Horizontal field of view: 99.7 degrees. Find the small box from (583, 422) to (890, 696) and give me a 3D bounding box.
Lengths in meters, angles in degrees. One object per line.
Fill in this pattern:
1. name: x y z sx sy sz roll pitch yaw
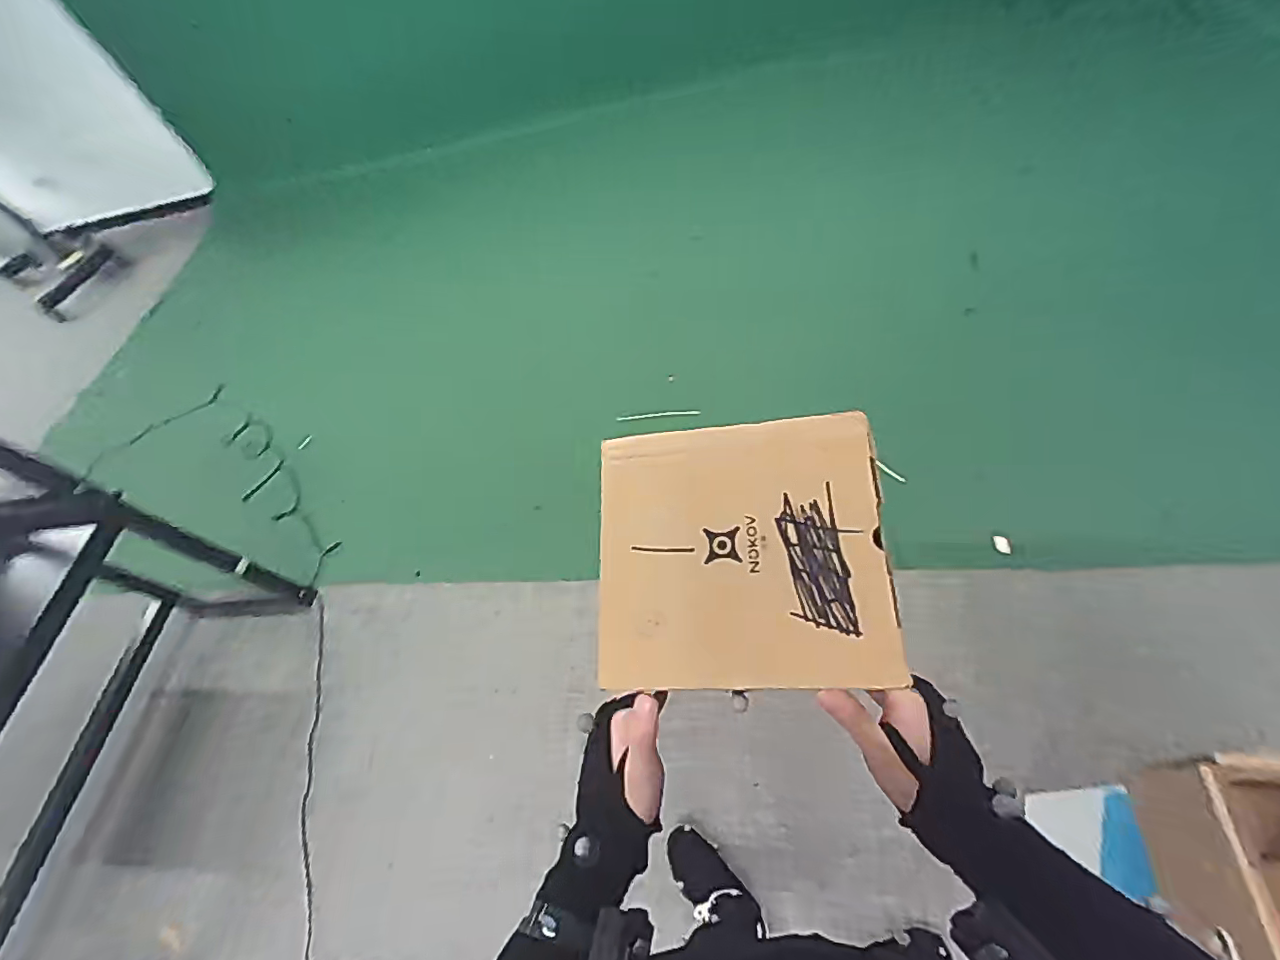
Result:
1. small box: 0.067 0.073 0.407 0.179 0.176 0.168 -6 68 12
